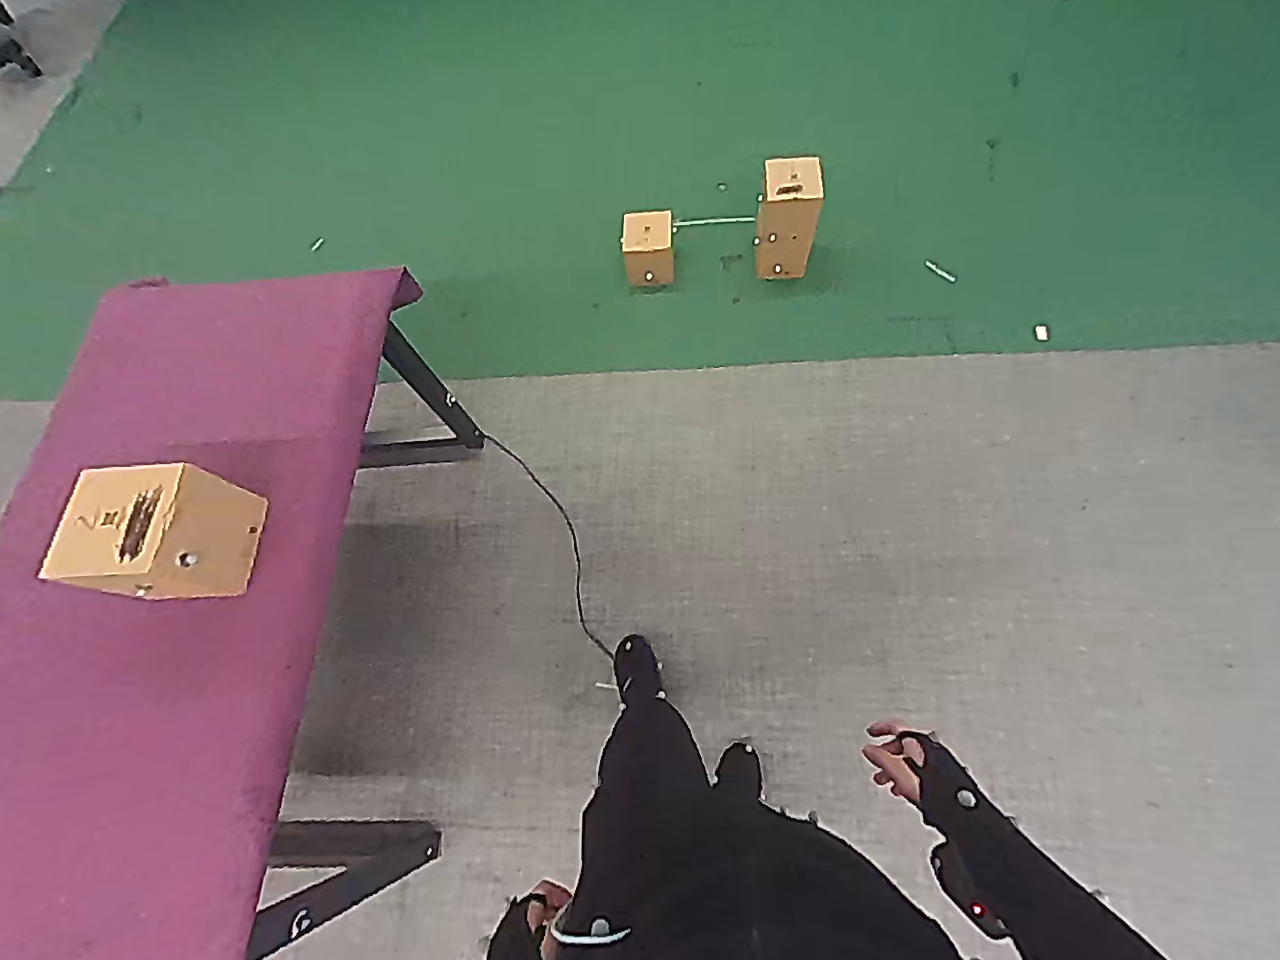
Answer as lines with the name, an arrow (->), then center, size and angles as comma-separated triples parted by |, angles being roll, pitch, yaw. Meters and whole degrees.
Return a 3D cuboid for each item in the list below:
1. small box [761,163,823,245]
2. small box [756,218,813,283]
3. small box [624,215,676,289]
small box -> 0.479, -0.873, 1.724 | 0.168, 0.176, 0.179 | 1, 67, 6
small box -> 0.494, -0.811, 1.875 | 0.168, 0.176, 0.179 | 0, 68, 6
small box -> 0.040, -0.808, 1.922 | 0.168, 0.176, 0.179 | -1, 67, 7
